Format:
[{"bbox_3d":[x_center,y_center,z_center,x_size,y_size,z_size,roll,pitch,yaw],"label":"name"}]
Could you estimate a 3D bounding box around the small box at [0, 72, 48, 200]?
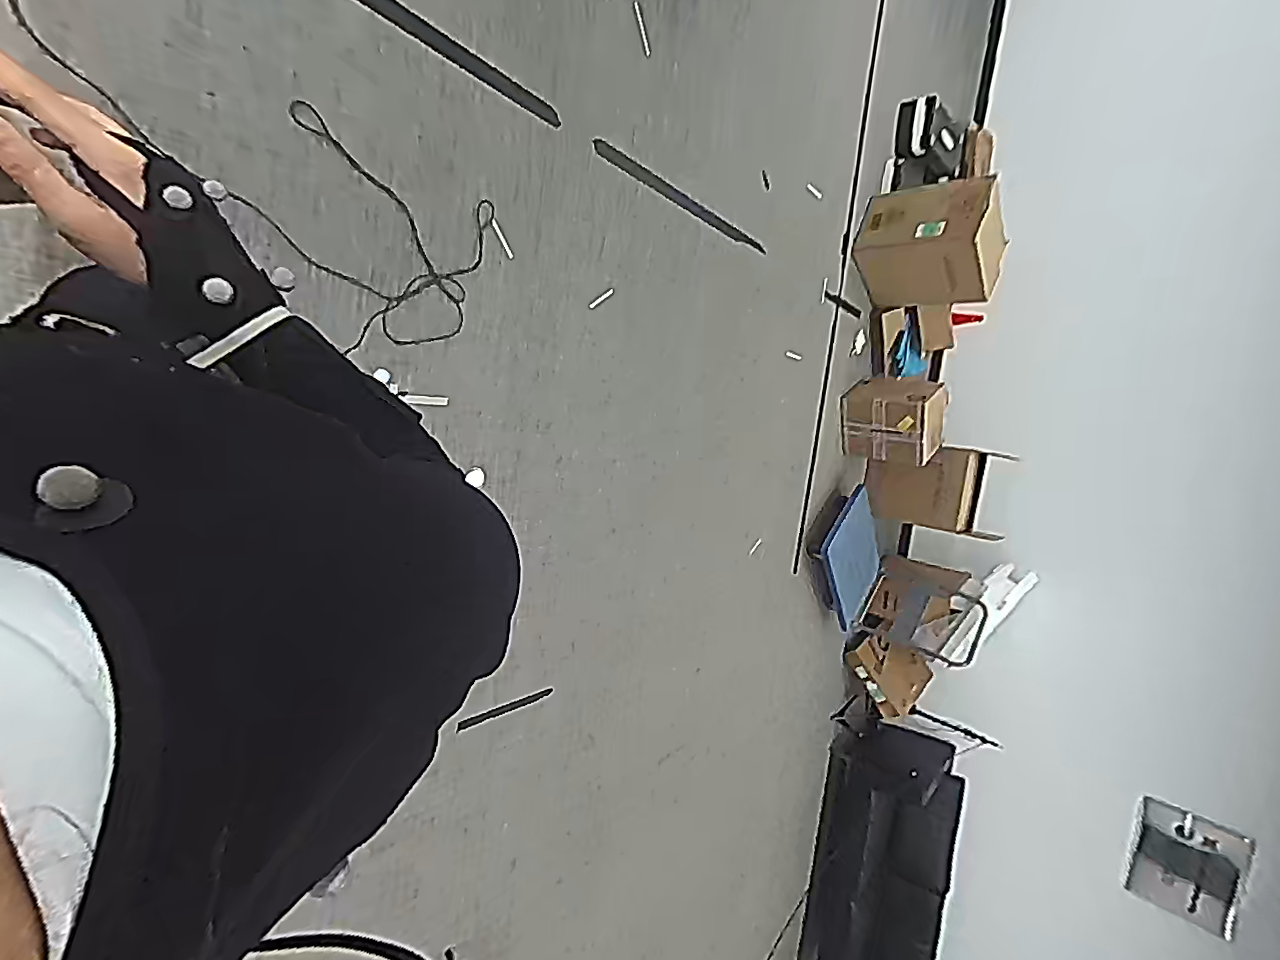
[{"bbox_3d":[-0.436,-0.239,0.249,0.168,0.176,0.179,-26,118,-35],"label":"small box"}]
